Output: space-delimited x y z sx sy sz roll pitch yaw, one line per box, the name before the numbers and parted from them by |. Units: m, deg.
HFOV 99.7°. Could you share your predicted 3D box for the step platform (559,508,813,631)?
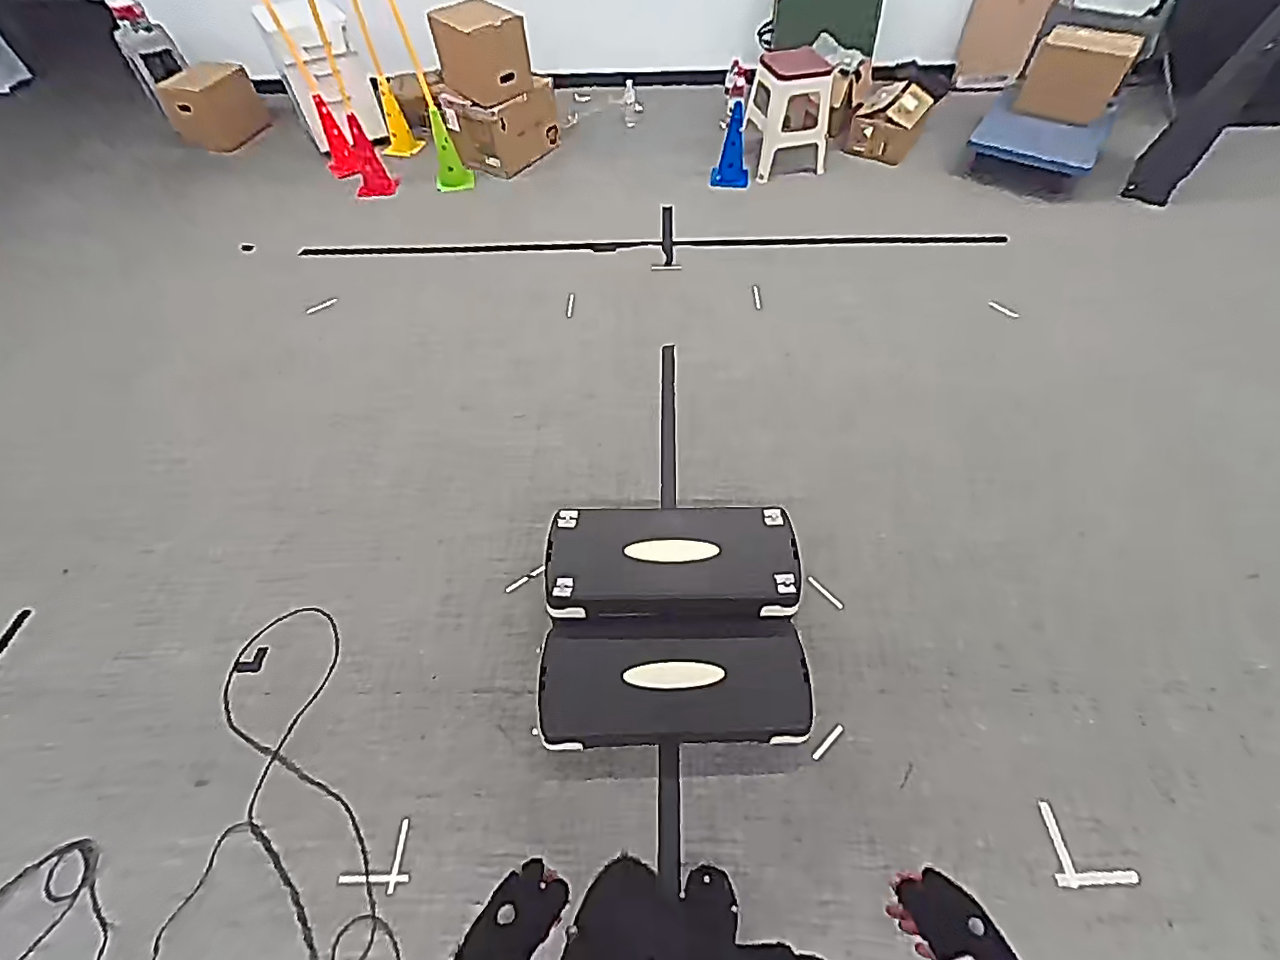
step platform | 0.118 0.242 1.498 0.684 0.204 0.286 -1 54 0
